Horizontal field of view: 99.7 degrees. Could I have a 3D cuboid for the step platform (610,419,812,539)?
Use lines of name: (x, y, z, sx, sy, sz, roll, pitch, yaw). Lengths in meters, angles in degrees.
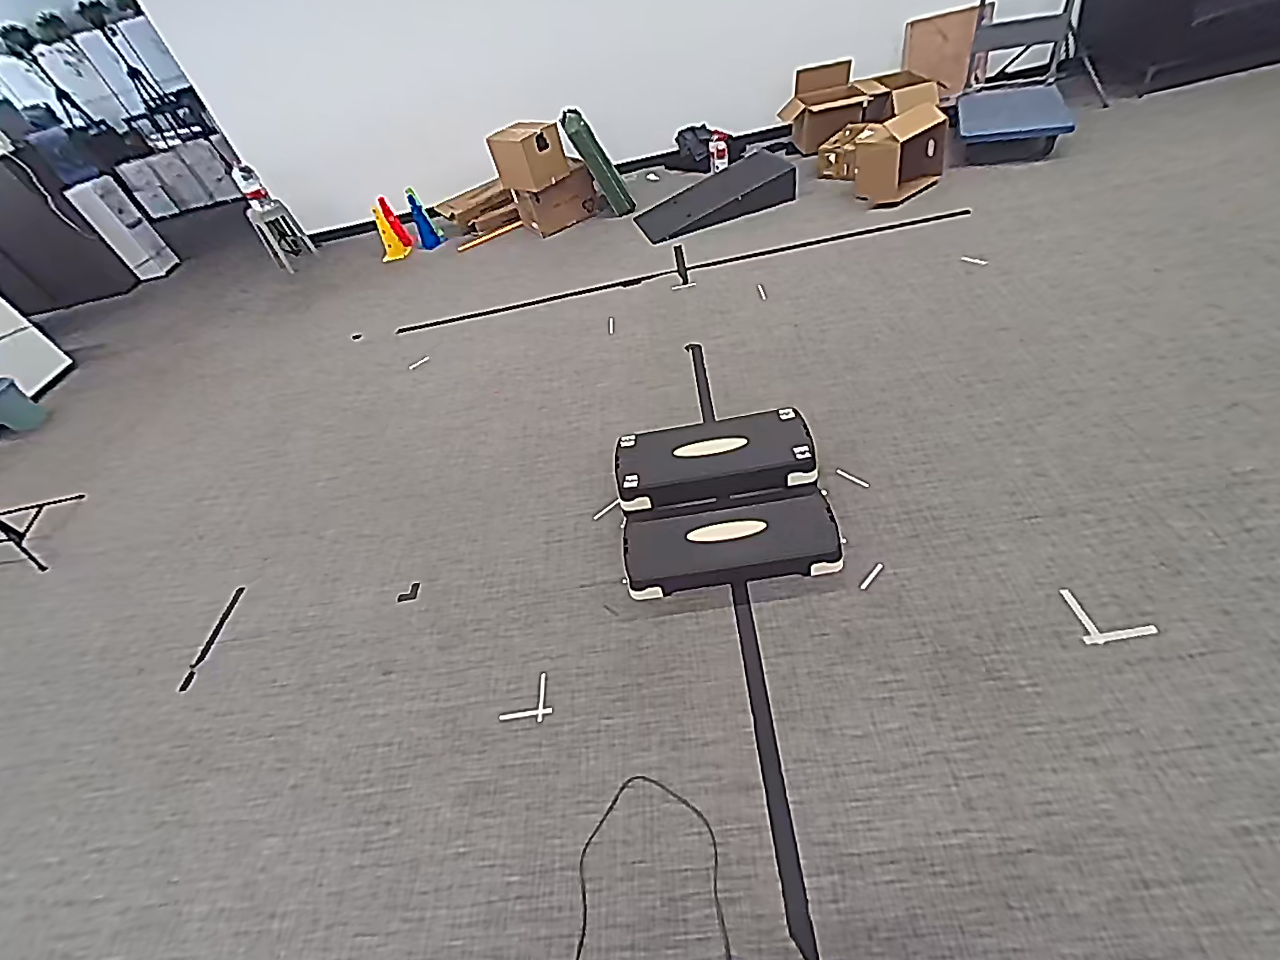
step platform: (0.235, -0.009, 1.880, 0.684, 0.204, 0.286, -10, 46, 5)
